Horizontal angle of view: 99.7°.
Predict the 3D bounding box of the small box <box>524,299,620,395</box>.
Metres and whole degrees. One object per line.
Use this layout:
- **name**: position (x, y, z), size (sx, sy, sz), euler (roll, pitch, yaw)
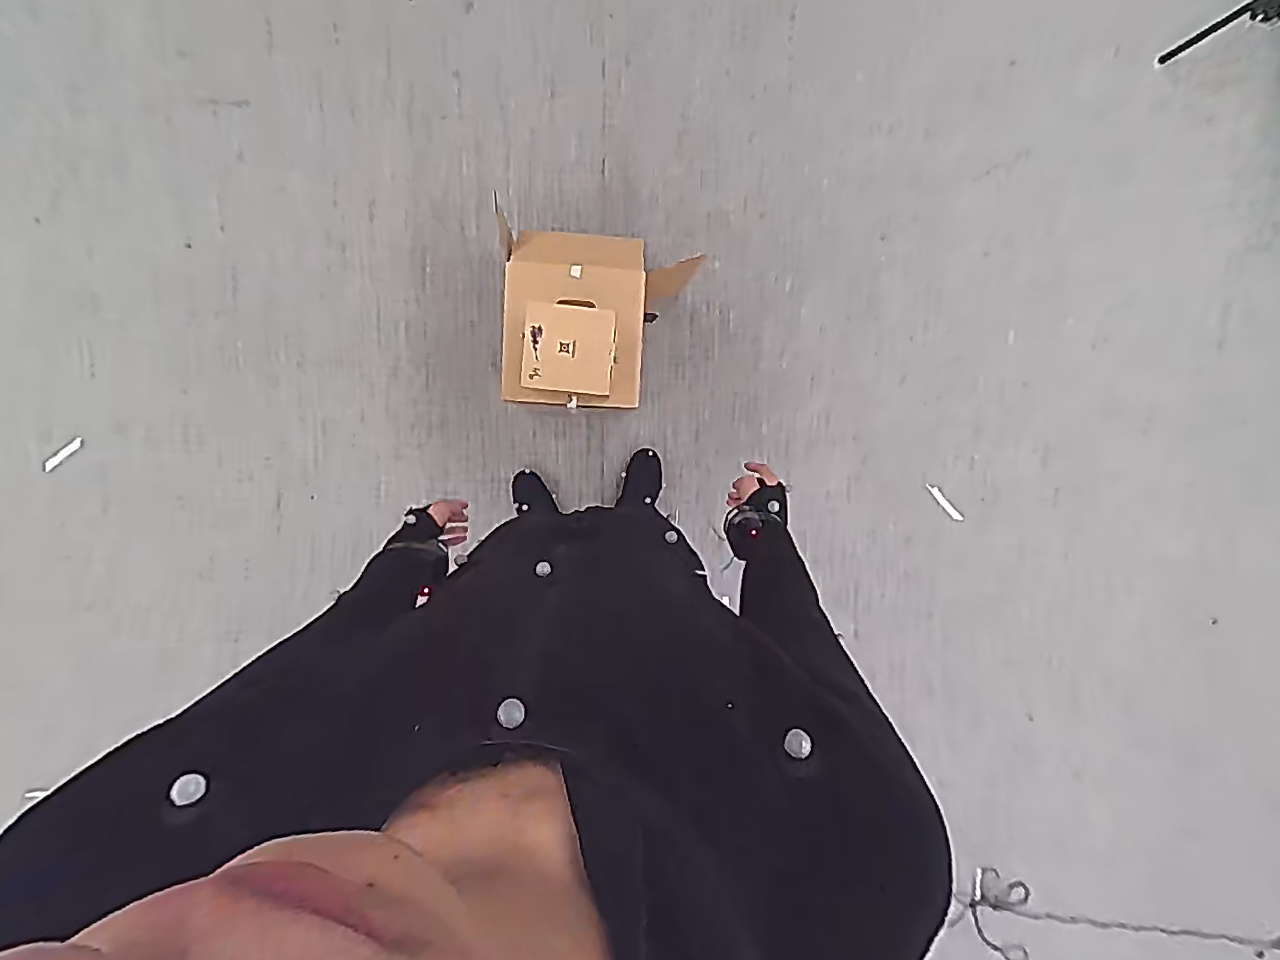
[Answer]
- **small box**: position (-0.140, -0.271, 1.140), size (0.179, 0.176, 0.168), euler (6, 96, -5)
